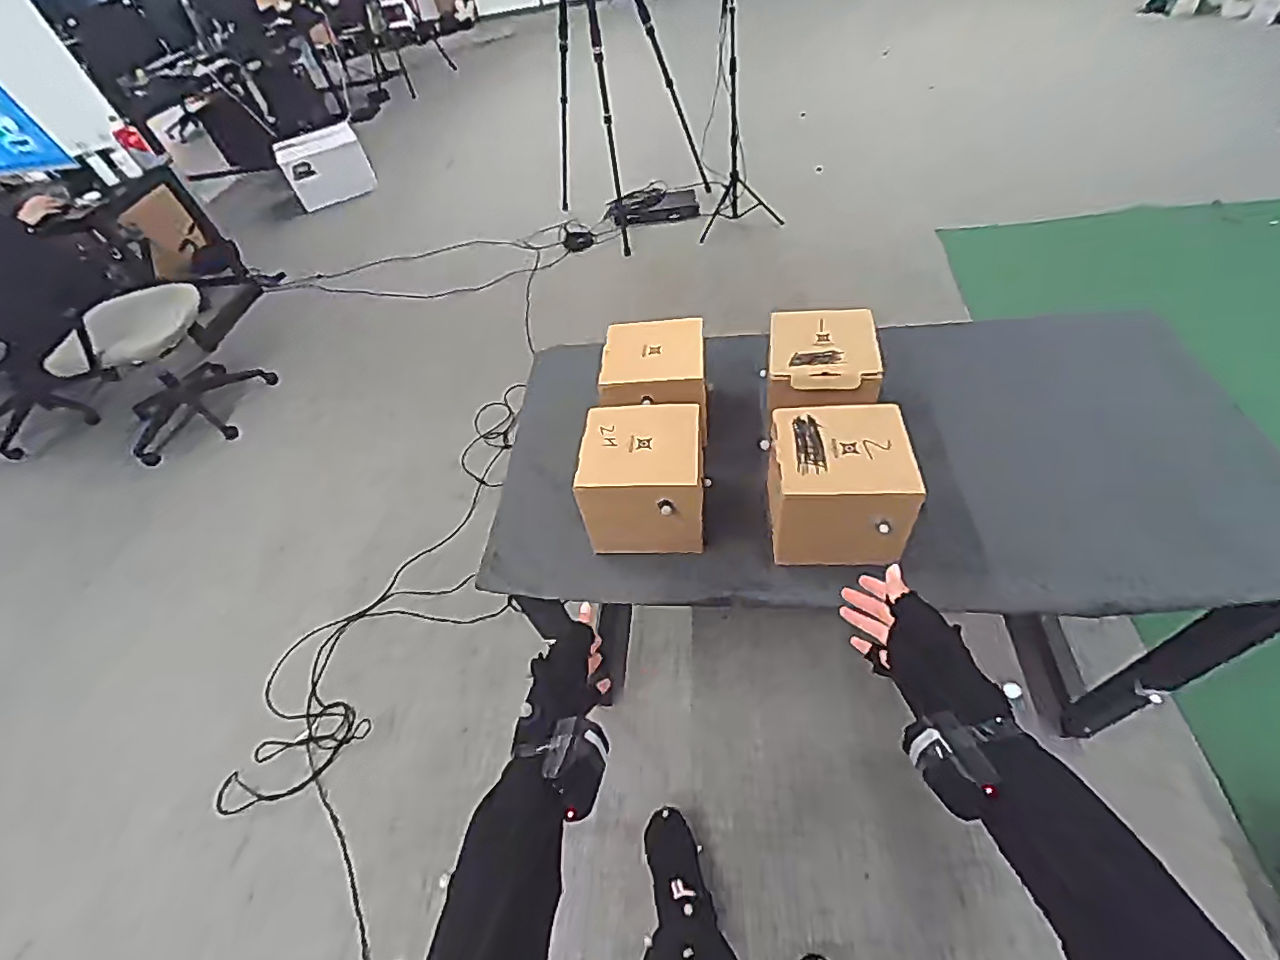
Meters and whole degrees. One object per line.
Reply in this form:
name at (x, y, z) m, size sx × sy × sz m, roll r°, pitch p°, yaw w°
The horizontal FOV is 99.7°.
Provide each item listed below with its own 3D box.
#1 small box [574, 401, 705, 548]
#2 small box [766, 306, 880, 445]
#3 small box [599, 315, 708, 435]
small box at (0.011, -0.005, 0.847) m, size 0.179 × 0.176 × 0.168 m, roll -1°, pitch 50°, yaw 9°
small box at (0.307, -0.176, 0.934) m, size 0.168 × 0.176 × 0.179 m, roll 2°, pitch 51°, yaw 12°
small box at (0.034, -0.176, 0.988) m, size 0.179 × 0.176 × 0.168 m, roll -3°, pitch 51°, yaw 10°
